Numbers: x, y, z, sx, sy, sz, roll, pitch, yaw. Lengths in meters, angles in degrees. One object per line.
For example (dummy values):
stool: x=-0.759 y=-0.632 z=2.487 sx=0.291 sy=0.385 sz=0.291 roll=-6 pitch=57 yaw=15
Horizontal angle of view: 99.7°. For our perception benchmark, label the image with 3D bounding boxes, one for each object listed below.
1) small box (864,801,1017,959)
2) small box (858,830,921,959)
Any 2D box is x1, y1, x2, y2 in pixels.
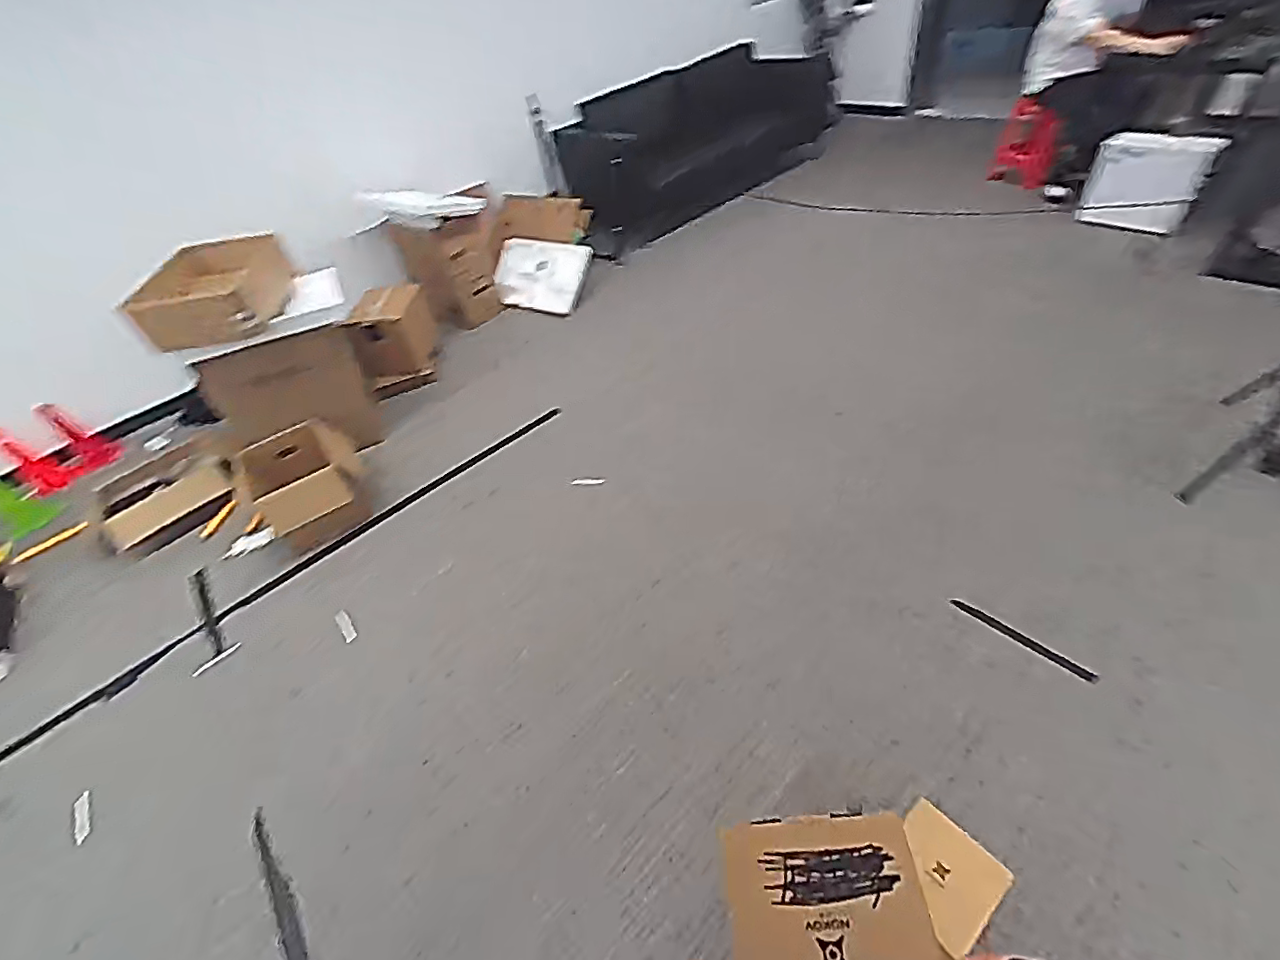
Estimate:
small box: x=0.525 y=0.728 z=0.969 sx=0.179 sy=0.176 sz=0.168 roll=-35 pitch=48 yaw=-23
small box: x=0.549 y=0.850 z=1.074 sx=0.168 sy=0.176 sz=0.179 roll=22 pitch=53 yaw=32
